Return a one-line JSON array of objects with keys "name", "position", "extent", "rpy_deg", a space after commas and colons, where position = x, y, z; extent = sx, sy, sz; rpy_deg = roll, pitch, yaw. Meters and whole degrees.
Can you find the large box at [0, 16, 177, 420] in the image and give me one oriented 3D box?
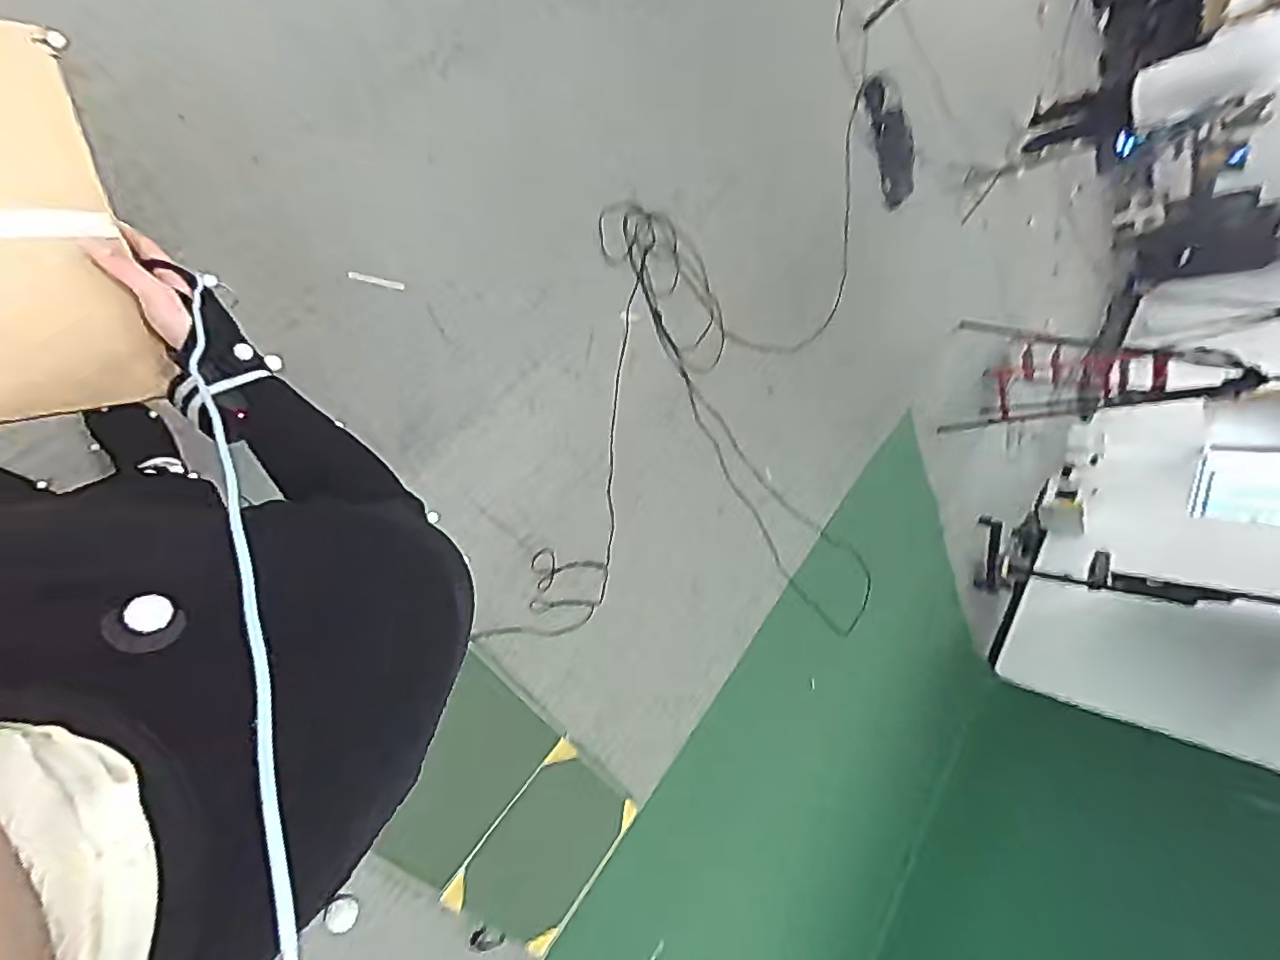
[{"name": "large box", "position": [-0.728, -0.188, 0.467], "extent": [0.408, 0.320, 0.320], "rpy_deg": [-26, 114, -42]}]
